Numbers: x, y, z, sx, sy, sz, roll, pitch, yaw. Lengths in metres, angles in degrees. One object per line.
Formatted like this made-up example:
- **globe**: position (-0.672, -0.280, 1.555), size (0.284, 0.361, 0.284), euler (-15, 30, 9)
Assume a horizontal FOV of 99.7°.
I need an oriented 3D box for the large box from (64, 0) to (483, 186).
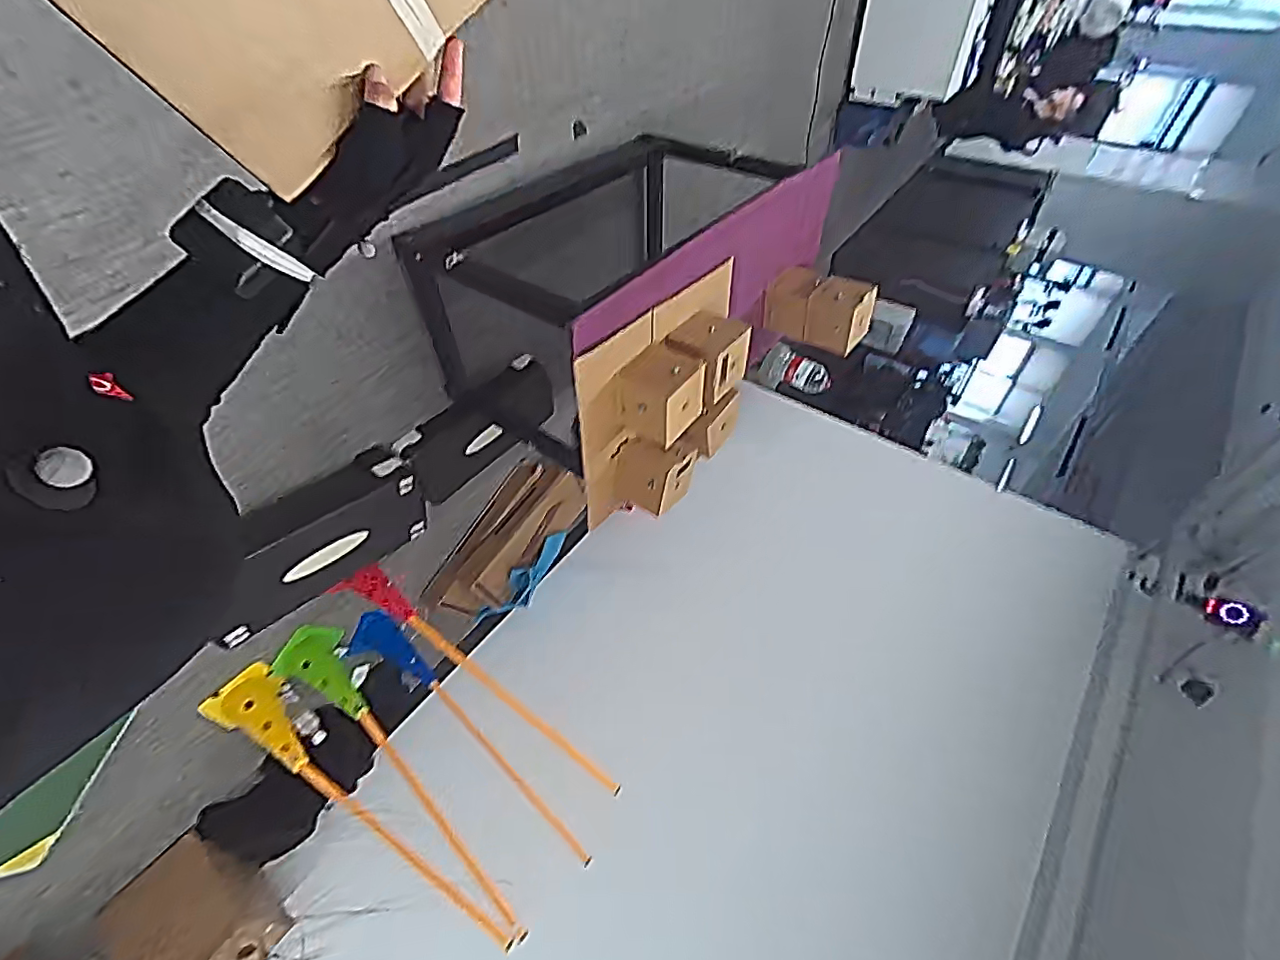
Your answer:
- **large box**: position (-0.314, -0.475, 0.287), size (0.320, 0.320, 0.408), euler (-46, 156, 0)
